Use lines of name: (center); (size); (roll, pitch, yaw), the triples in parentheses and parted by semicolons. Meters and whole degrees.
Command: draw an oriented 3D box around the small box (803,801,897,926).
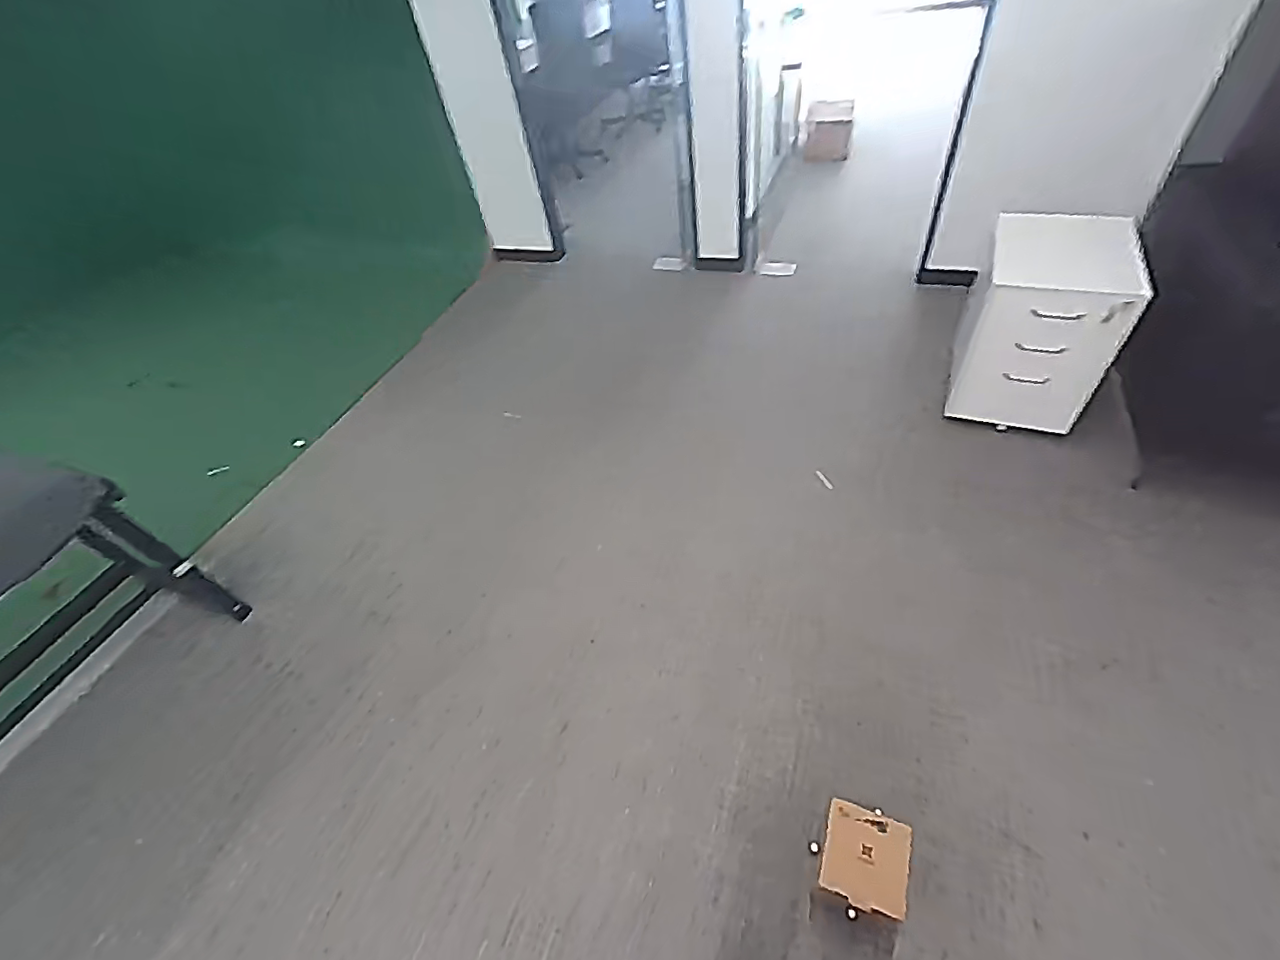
small box: (0.465, 0.859, 1.209); (0.168, 0.176, 0.179); (11, 50, 18)
